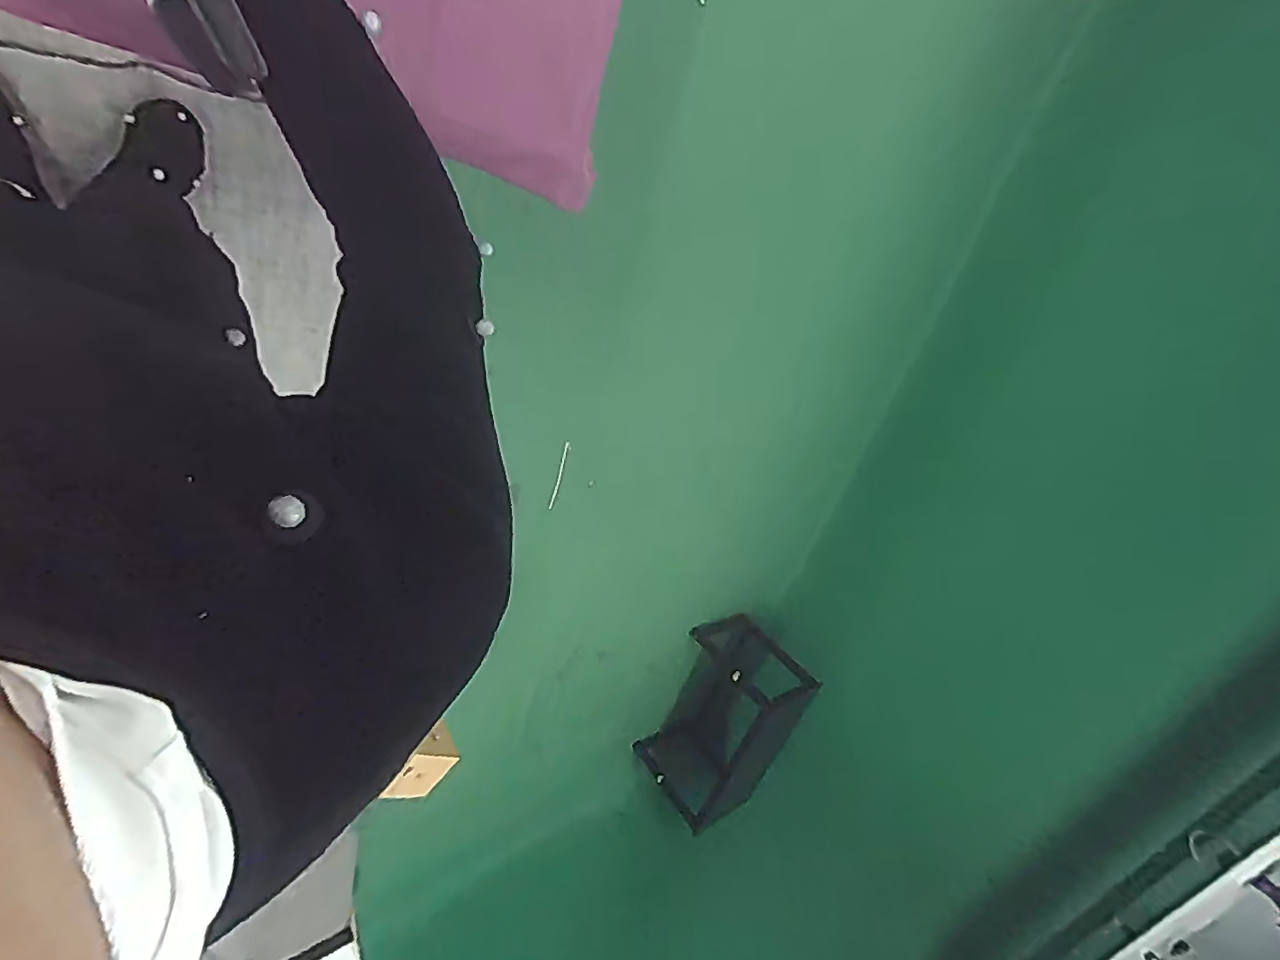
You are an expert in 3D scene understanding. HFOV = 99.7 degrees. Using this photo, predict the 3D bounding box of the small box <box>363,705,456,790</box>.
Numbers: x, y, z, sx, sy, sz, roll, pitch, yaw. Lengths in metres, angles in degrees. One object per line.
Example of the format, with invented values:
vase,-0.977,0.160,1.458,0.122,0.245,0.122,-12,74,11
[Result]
small box,-0.710,0.820,1.662,0.168,0.176,0.179,-48,142,-1
